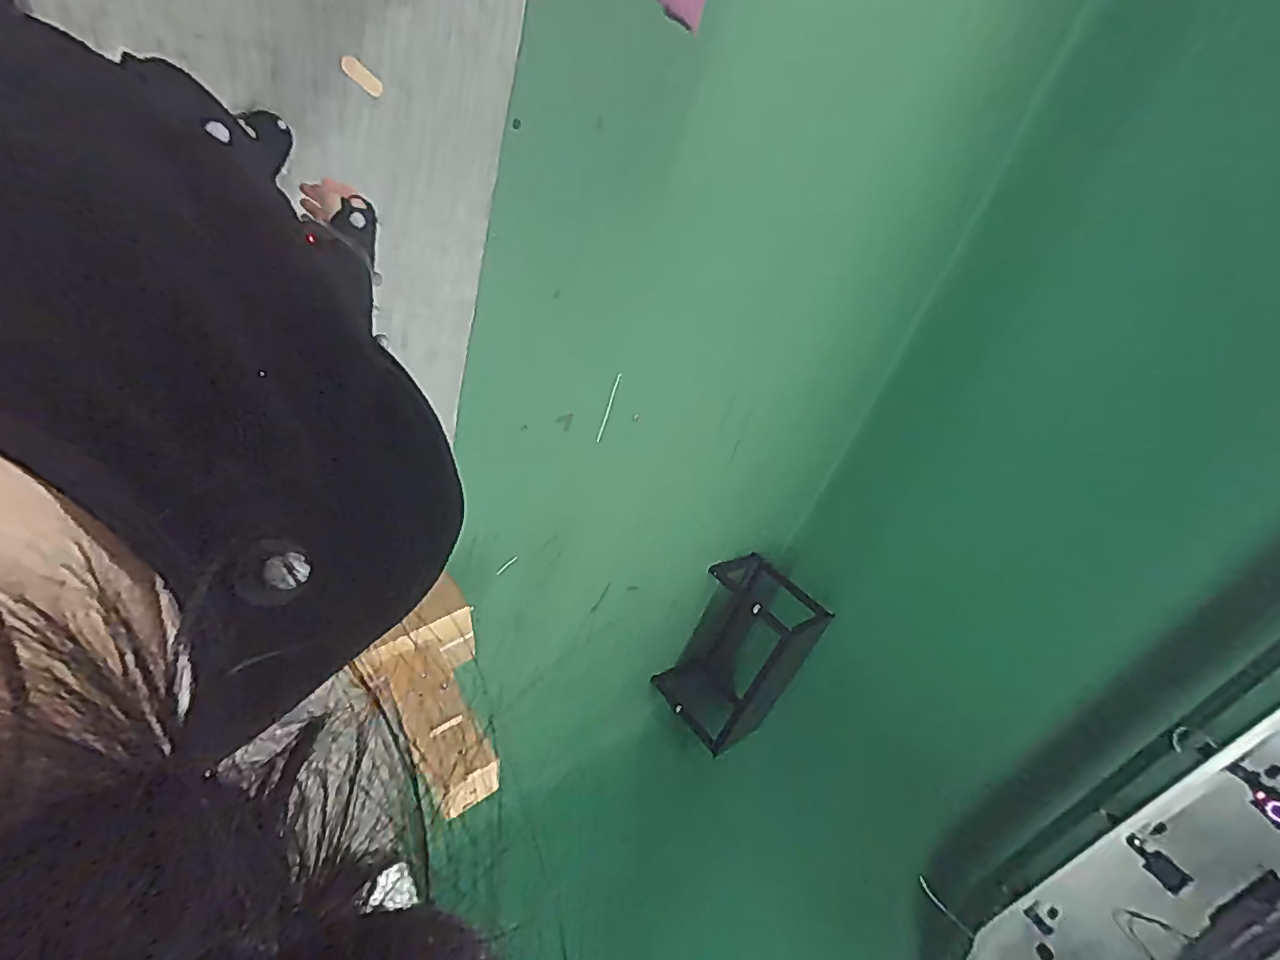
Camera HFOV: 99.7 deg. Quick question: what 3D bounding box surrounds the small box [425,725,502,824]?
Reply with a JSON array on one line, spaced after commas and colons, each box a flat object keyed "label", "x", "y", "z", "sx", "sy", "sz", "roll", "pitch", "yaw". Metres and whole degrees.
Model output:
[{"label": "small box", "x": -0.526, "y": 0.864, "z": 1.609, "sx": 0.168, "sy": 0.176, "sz": 0.179, "roll": -19, "pitch": 133, "yaw": -36}]

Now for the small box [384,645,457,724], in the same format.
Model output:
[{"label": "small box", "x": -0.725, "y": 0.682, "z": 1.795, "sx": 0.179, "sy": 0.176, "sz": 0.168, "roll": -19, "pitch": 134, "yaw": -35}]

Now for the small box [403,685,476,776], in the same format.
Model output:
[{"label": "small box", "x": -0.631, "y": 0.775, "z": 1.699, "sx": 0.168, "sy": 0.176, "sz": 0.179, "roll": -18, "pitch": 134, "yaw": -37}]

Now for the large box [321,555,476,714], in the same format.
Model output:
[{"label": "large box", "x": -0.856, "y": 0.541, "z": 1.949, "sx": 0.408, "sy": 0.320, "sz": 0.320, "roll": -23, "pitch": 139, "yaw": -34}]
